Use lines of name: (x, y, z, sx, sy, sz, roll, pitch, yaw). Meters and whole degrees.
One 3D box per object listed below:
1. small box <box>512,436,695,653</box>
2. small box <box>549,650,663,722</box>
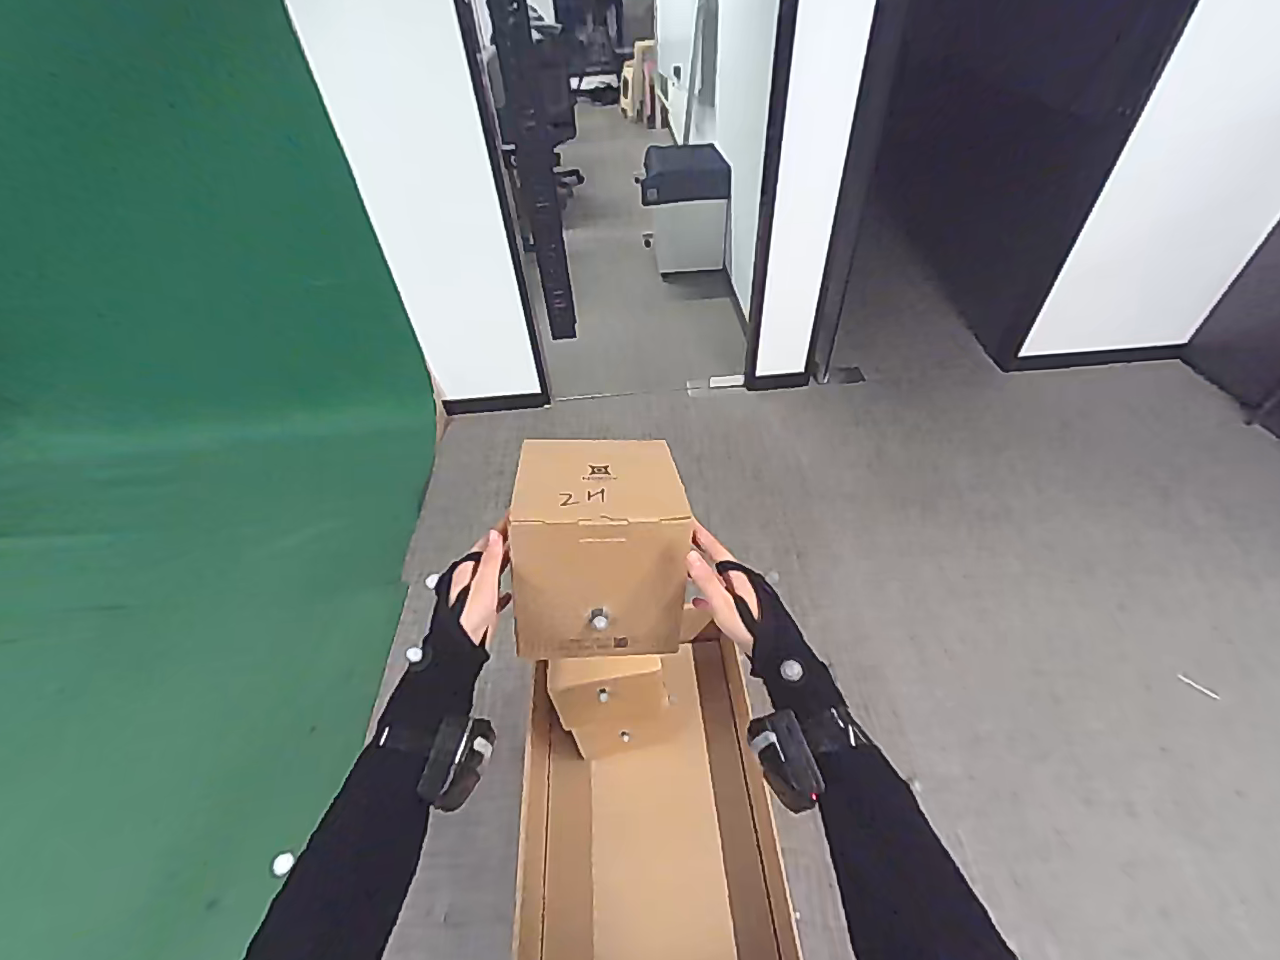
small box: (-0.043, 0.063, 0.587, 0.168, 0.176, 0.179, -1, 29, -6)
small box: (-0.057, 0.292, 0.926, 0.179, 0.176, 0.168, -9, 46, -3)
